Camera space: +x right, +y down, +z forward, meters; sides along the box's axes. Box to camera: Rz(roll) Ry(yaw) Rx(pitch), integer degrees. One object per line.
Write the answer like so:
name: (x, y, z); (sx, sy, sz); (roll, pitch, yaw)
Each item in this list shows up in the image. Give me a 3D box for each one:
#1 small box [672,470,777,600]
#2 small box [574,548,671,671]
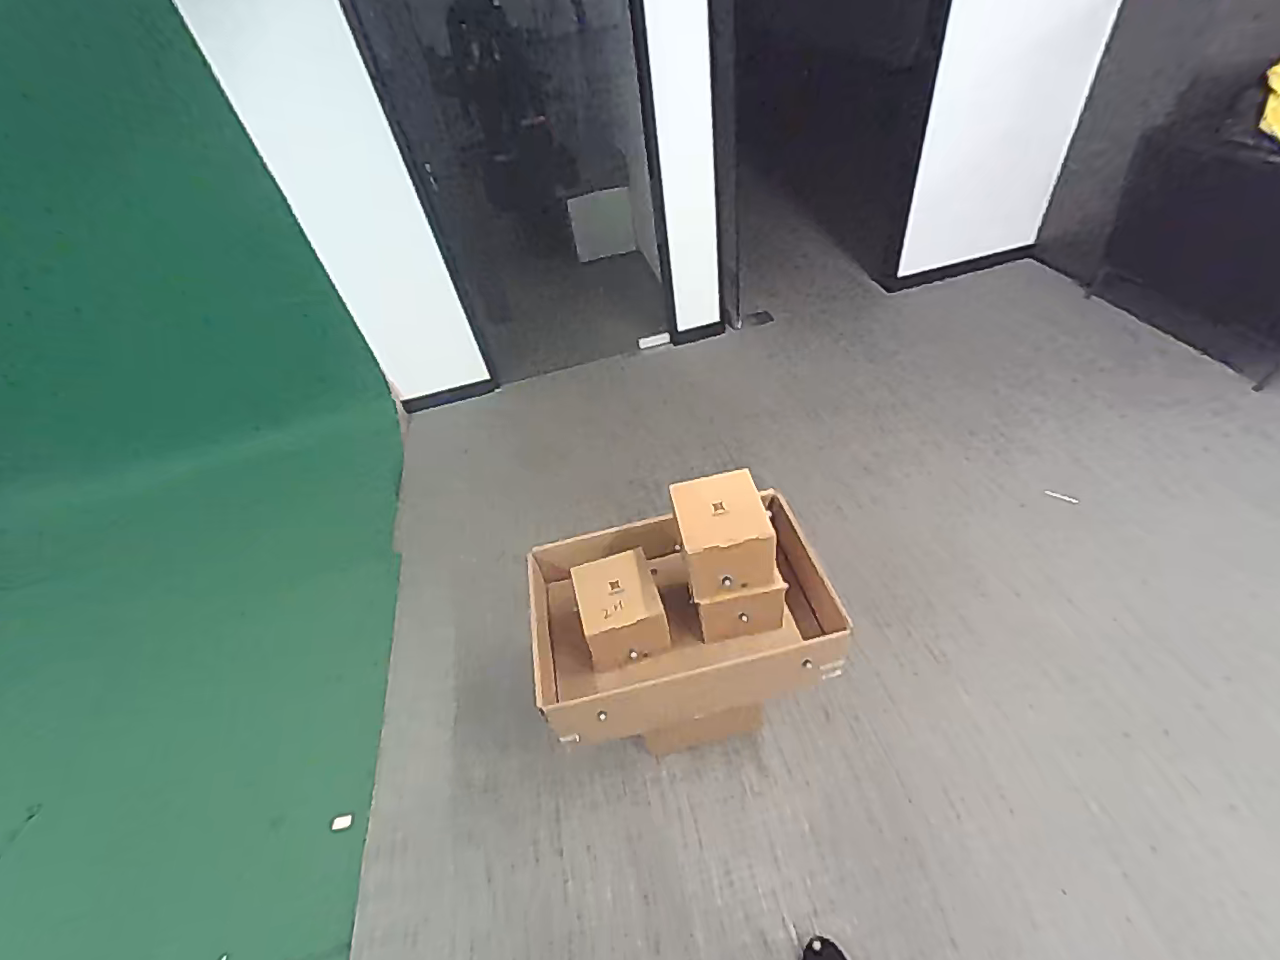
small box: (0.165, 0.111, 1.077); (0.168, 0.176, 0.179); (-12, 44, 0)
small box: (-0.037, 0.281, 1.176); (0.168, 0.176, 0.179); (-16, 45, -5)
